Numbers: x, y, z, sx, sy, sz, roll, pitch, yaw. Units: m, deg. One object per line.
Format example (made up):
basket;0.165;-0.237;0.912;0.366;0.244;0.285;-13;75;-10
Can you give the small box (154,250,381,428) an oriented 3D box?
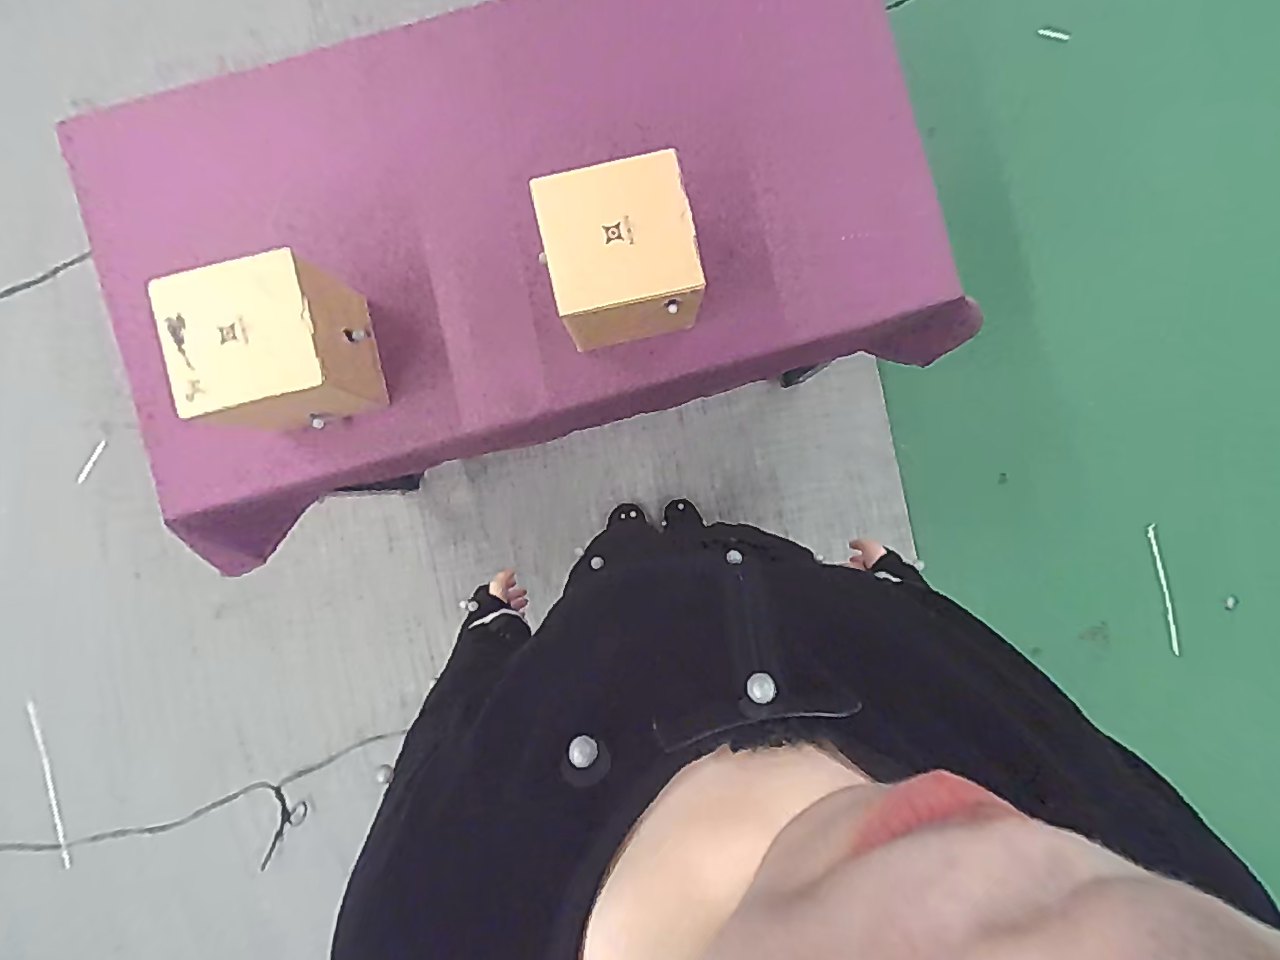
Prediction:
small box;-0.464;-0.172;0.708;0.179;0.176;0.168;-13;89;0

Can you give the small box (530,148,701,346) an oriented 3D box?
small box;-0.027;-0.287;0.705;0.179;0.176;0.168;-12;89;0
